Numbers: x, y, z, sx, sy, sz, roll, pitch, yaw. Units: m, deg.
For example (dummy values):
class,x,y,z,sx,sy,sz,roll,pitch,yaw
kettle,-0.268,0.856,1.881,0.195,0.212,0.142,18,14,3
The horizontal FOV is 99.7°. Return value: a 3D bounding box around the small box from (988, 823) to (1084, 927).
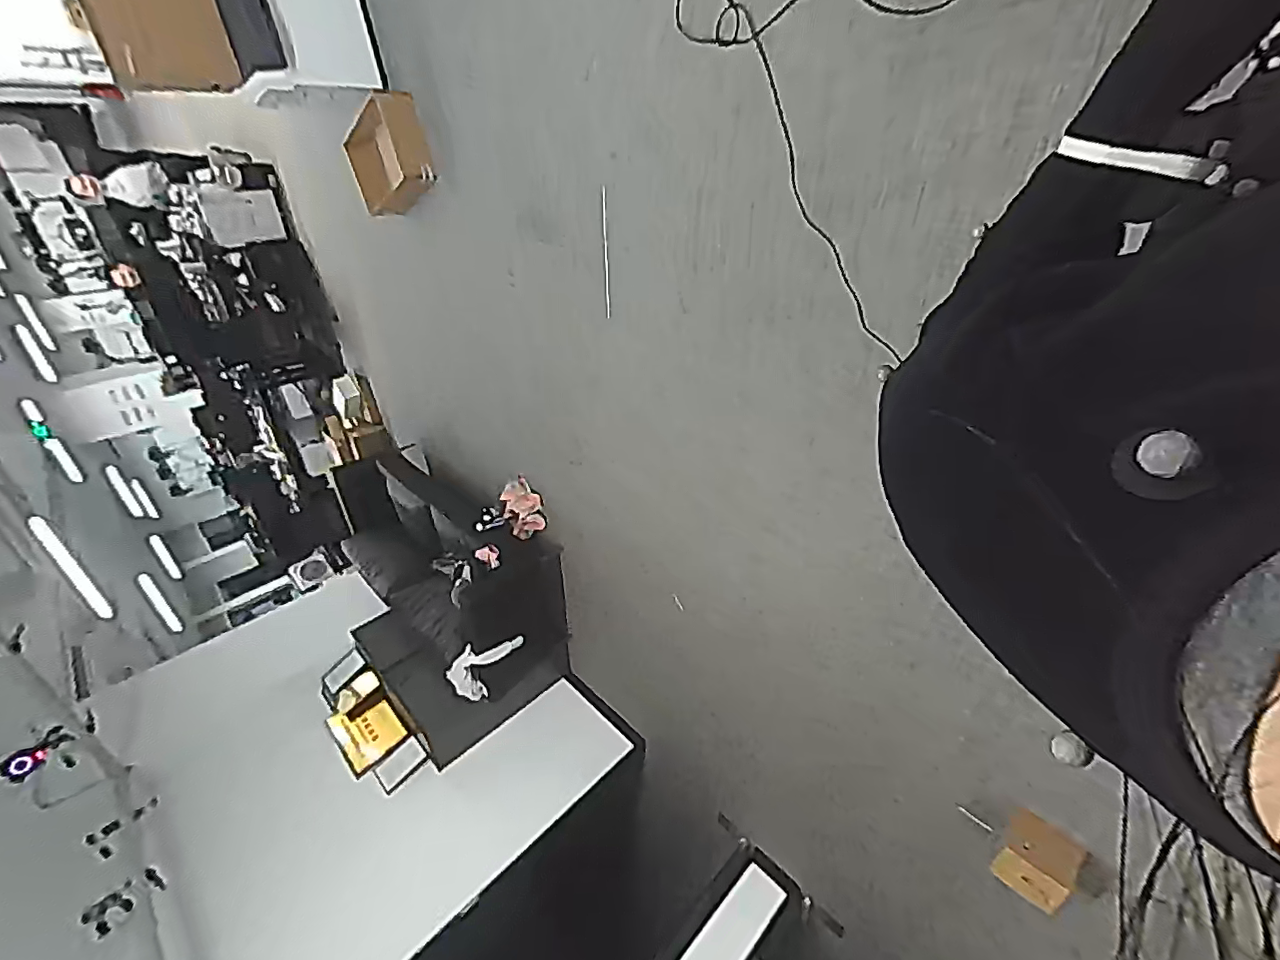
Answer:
class,x,y,z,sx,sy,sz,roll,pitch,yaw
small box,1.229,1.212,1.679,0.179,0.176,0.168,27,131,37
